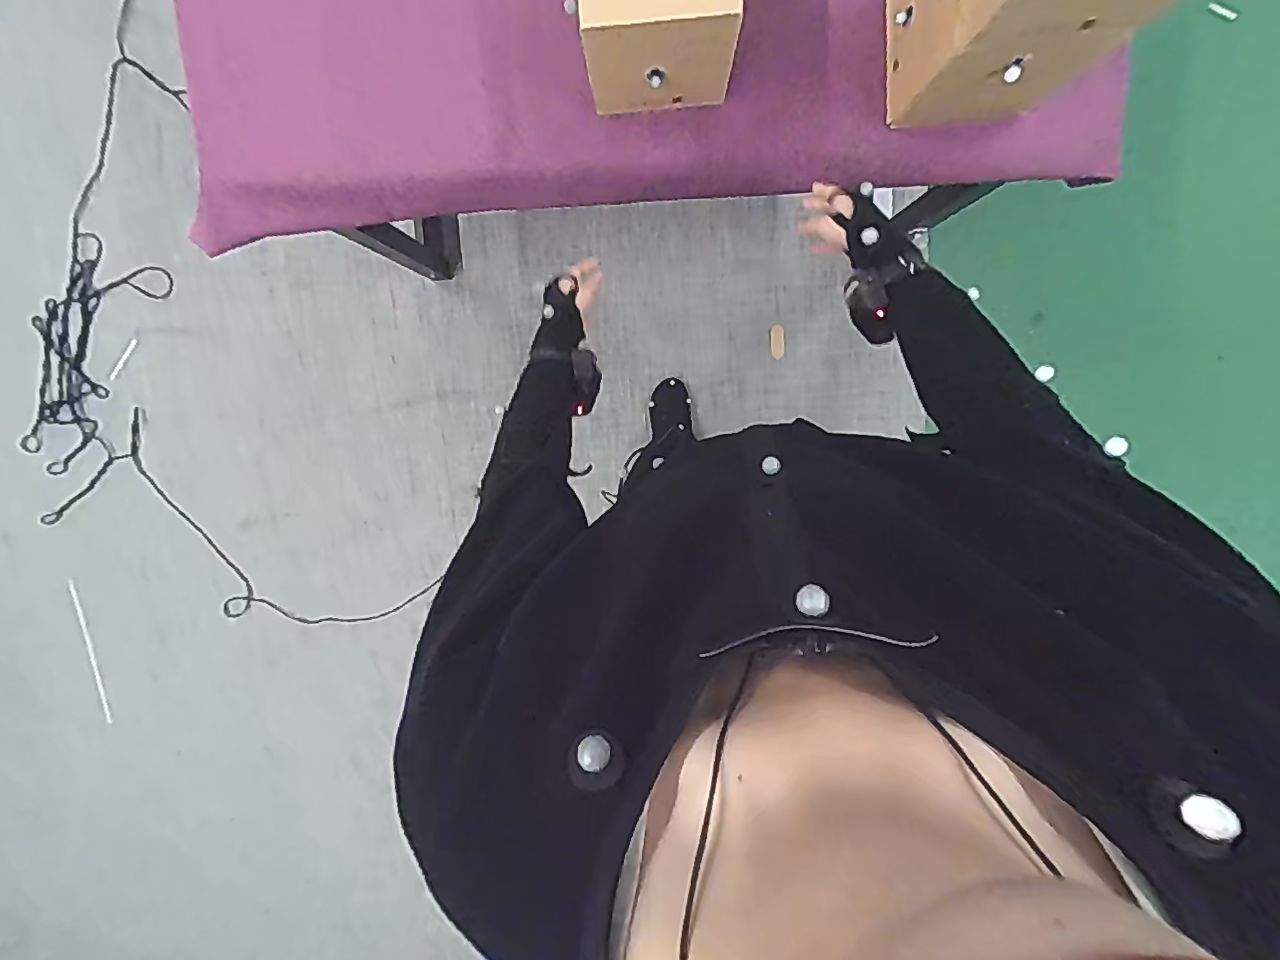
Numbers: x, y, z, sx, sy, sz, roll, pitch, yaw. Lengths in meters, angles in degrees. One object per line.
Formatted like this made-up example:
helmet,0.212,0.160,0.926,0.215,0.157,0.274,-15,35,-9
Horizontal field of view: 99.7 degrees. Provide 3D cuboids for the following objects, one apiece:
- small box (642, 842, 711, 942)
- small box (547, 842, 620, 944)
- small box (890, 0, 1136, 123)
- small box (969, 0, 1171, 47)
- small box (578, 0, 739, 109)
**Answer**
small box,0.107,1.192,1.576,0.179,0.176,0.168,-8,97,6
small box,-0.158,1.208,1.594,0.179,0.176,0.168,-12,97,5
small box,0.400,-0.529,0.600,0.179,0.176,0.168,-4,100,5
small box,0.392,-0.505,0.437,0.168,0.176,0.179,-3,99,6
small box,0.021,-0.554,0.615,0.168,0.176,0.179,-3,97,3
